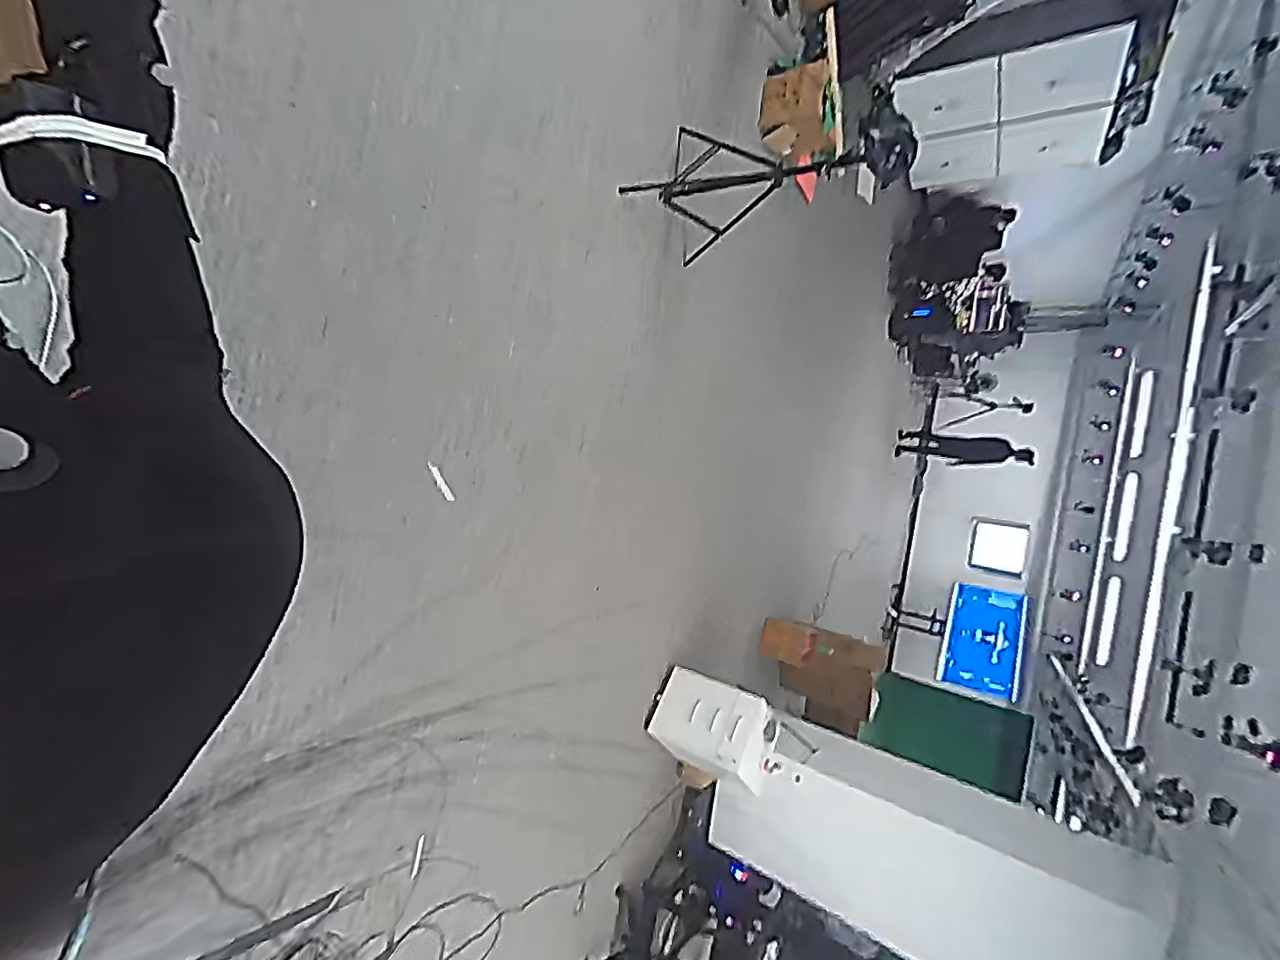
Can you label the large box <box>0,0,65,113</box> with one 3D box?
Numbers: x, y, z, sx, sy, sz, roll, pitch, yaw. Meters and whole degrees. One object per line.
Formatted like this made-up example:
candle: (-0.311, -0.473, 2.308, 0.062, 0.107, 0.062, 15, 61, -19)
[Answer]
large box: (-0.631, -0.422, 0.264, 0.408, 0.320, 0.320, -17, 123, -52)
